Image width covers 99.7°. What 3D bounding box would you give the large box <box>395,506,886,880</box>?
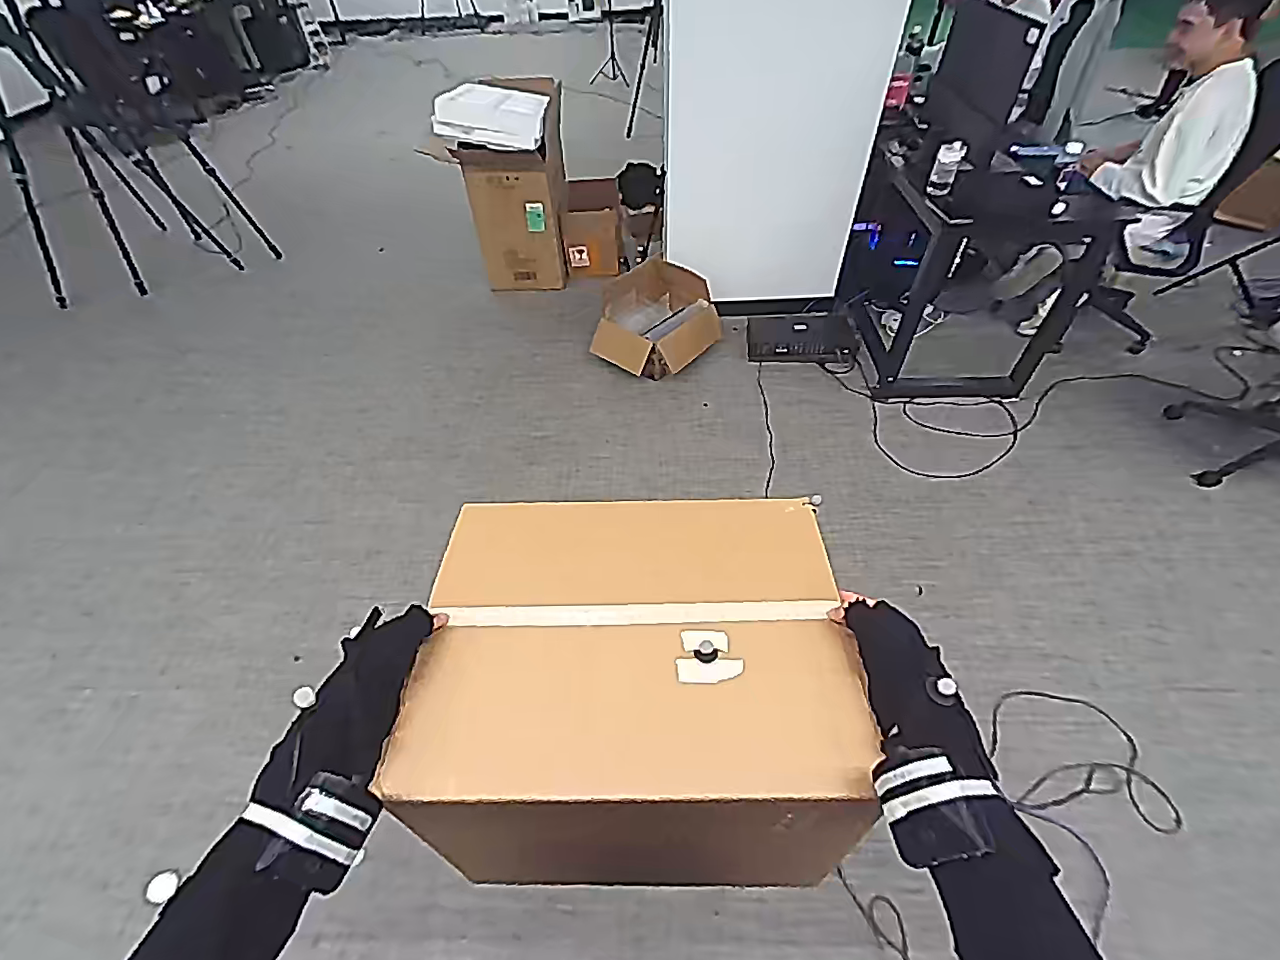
[{"bbox_3d":[0.002,0.248,0.638,0.408,0.320,0.320,-1,43,1],"label":"large box"}]
